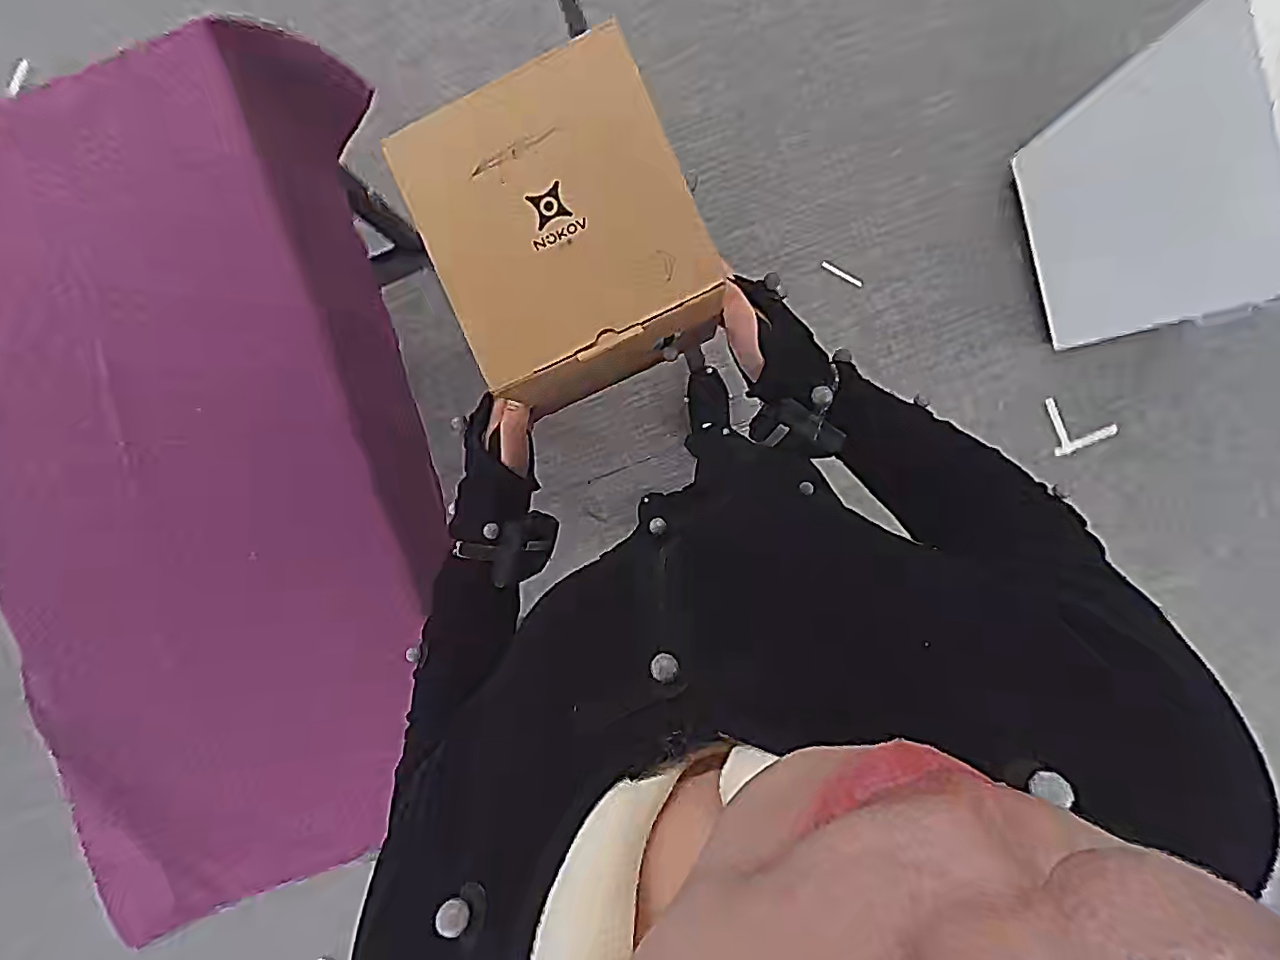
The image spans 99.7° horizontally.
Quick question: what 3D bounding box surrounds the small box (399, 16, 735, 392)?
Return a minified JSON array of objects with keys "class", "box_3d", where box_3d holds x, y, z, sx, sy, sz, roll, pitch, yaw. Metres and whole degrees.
[{"class":"small box","box_3d":[-0.039,-0.175,0.413,0.168,0.176,0.179,-22,92,5]}]
